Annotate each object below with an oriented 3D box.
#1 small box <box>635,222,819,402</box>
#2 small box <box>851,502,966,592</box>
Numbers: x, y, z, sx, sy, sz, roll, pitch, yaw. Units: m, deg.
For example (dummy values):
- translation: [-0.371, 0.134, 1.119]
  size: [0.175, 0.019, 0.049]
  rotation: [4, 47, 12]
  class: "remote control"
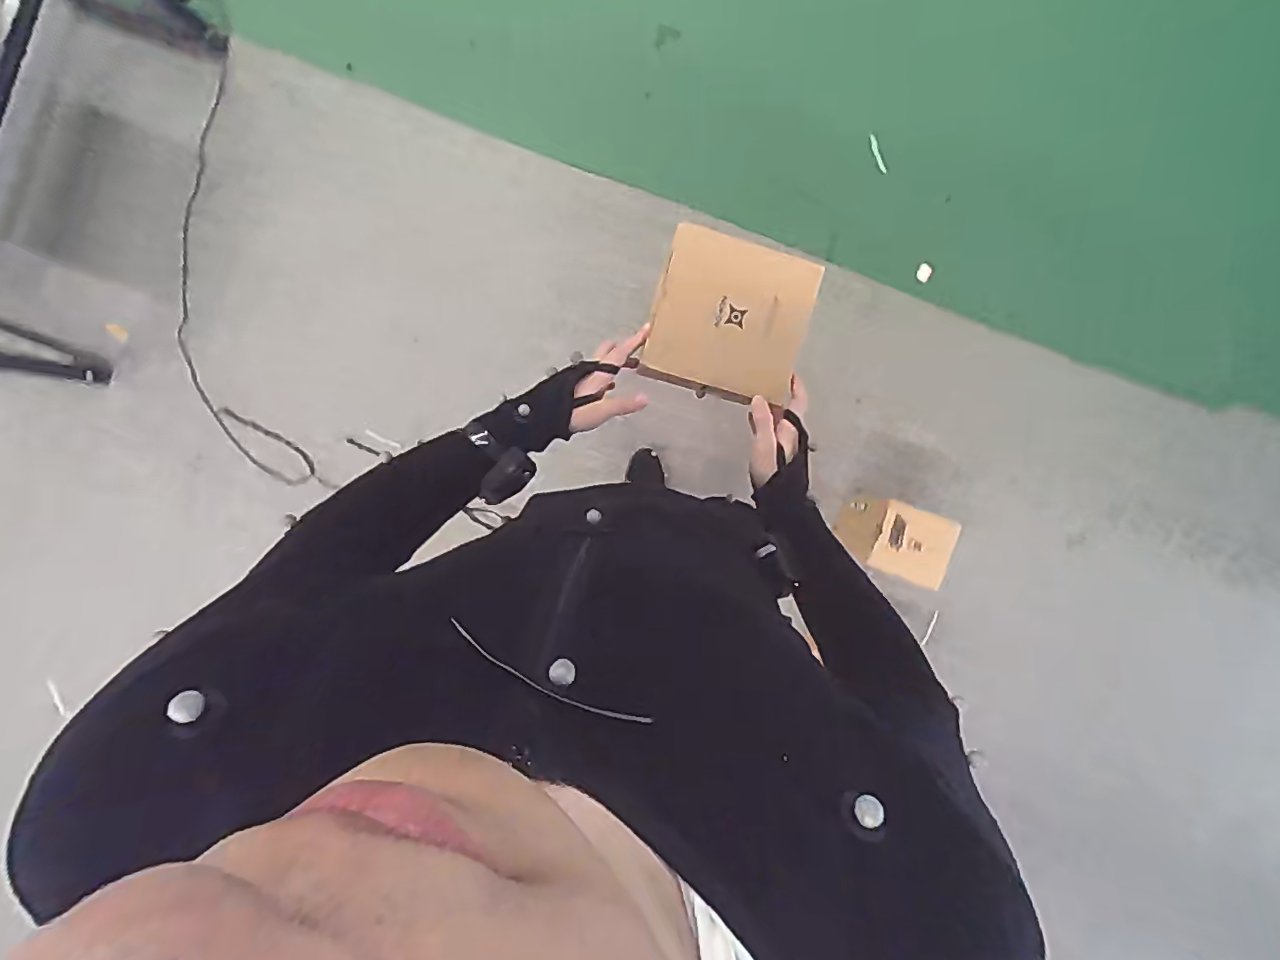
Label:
- translation: [0.096, -0.199, 0.694]
  size: [0.179, 0.176, 0.168]
  rotation: [14, 97, -5]
  class: "small box"
- translation: [0.654, 0.157, 1.342]
  size: [0.179, 0.176, 0.168]
  rotation: [21, 93, 3]
  class: "small box"
